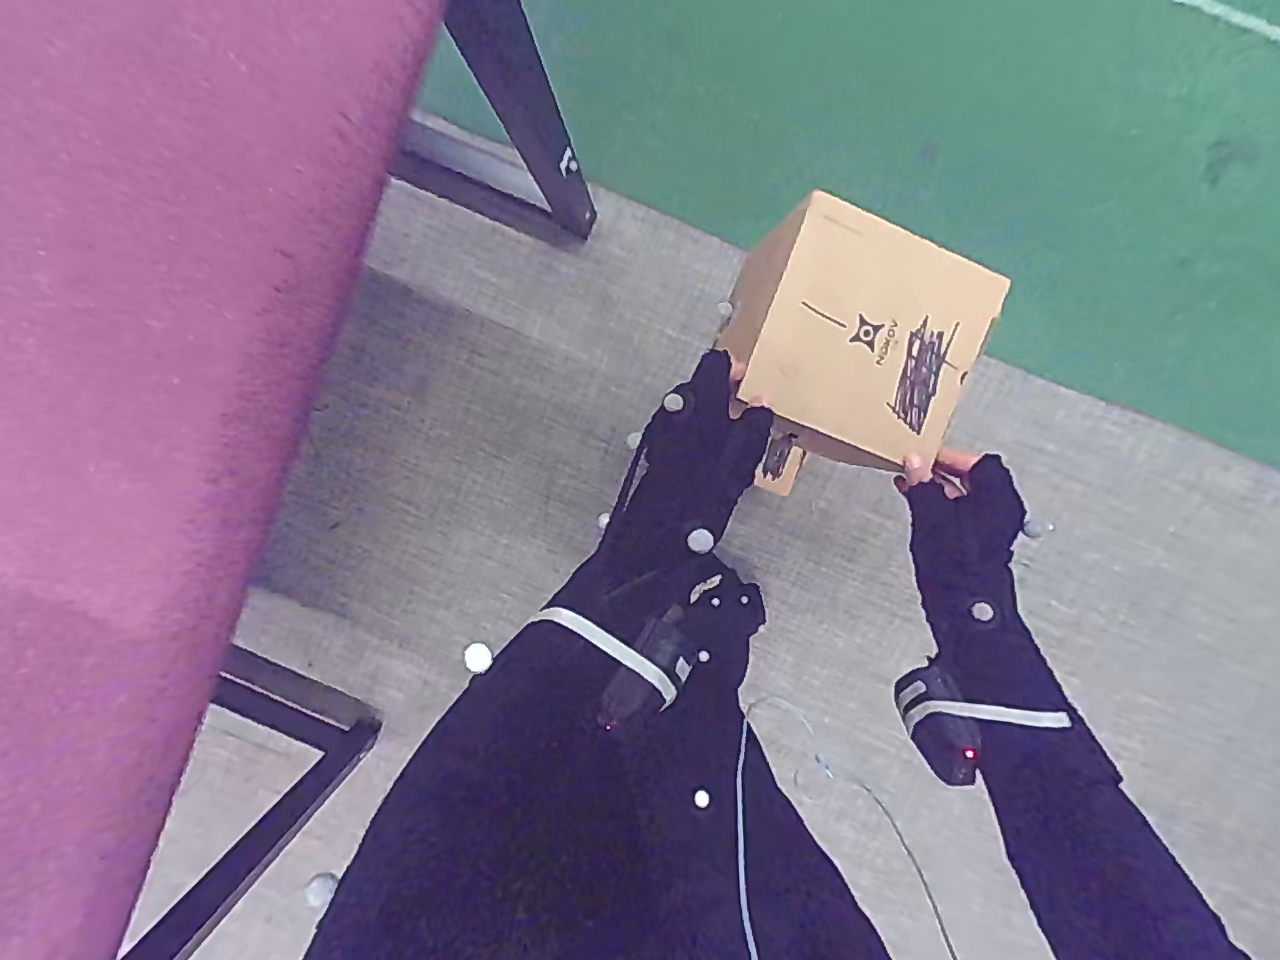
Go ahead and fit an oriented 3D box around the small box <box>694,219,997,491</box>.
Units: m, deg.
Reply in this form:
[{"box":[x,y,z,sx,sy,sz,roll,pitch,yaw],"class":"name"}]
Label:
[{"box":[0.173,-0.107,0.512,0.179,0.176,0.168,22,94,-9],"class":"small box"}]
